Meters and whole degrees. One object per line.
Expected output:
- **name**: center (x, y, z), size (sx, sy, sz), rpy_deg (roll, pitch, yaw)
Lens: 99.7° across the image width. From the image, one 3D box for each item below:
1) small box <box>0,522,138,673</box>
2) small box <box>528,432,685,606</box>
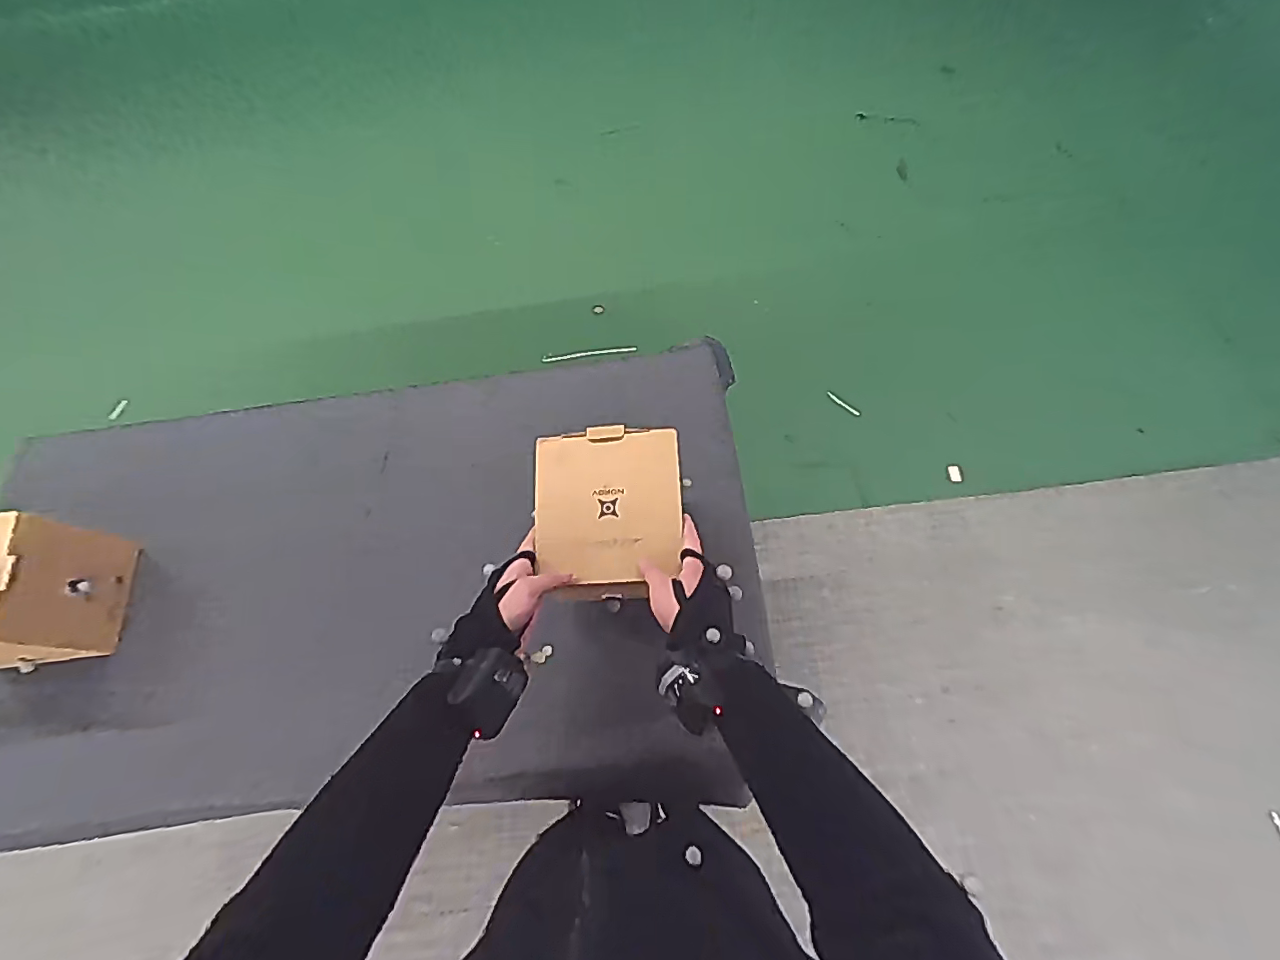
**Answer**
- **small box**: center (-0.859, 0.168, 0.743), size (0.179, 0.176, 0.168), rpy_deg (-8, 67, 0)
- **small box**: center (-0.029, 0.056, 0.660), size (0.168, 0.176, 0.179), rpy_deg (-2, 72, 5)
